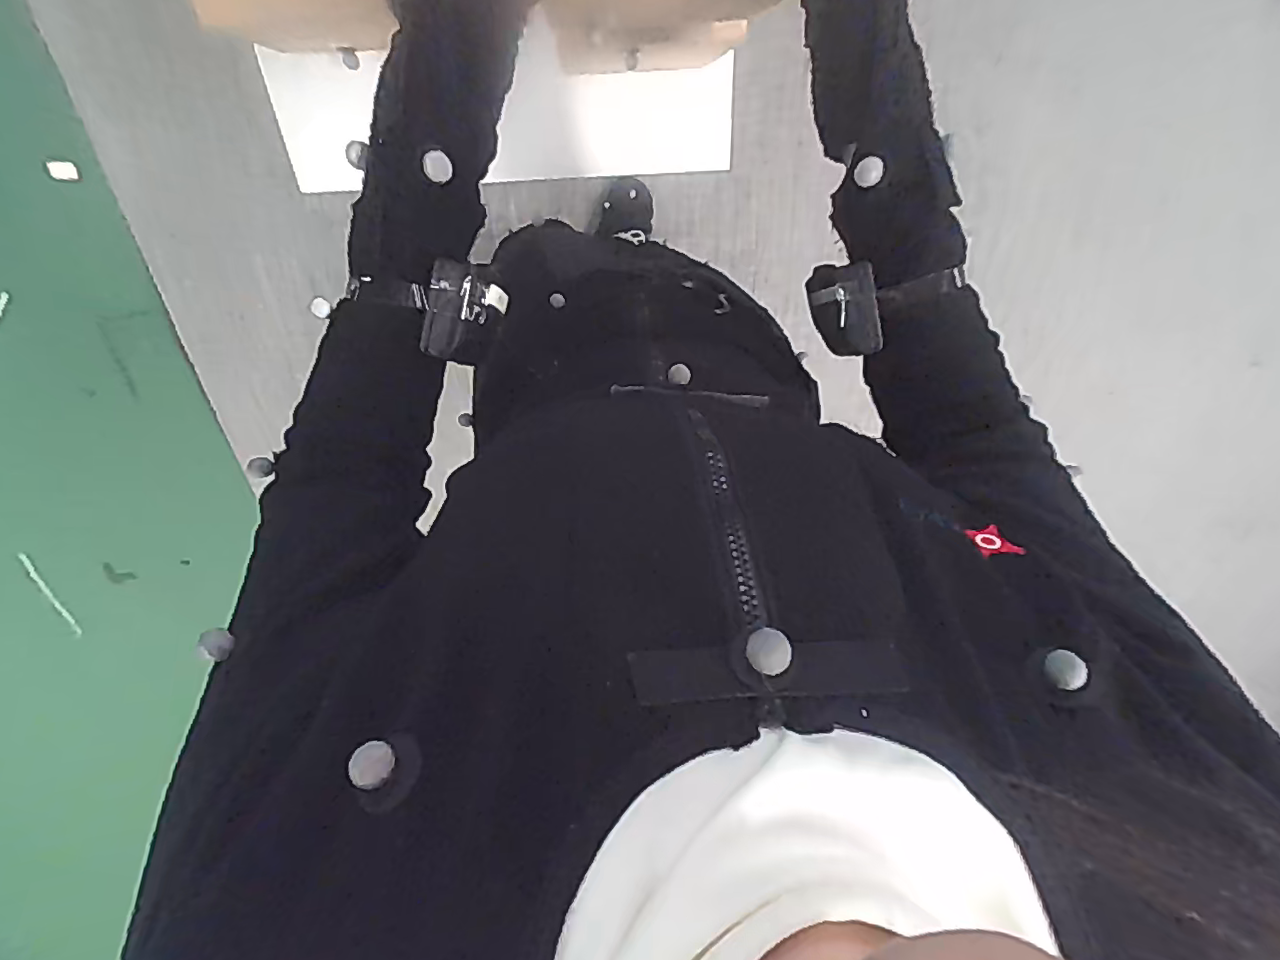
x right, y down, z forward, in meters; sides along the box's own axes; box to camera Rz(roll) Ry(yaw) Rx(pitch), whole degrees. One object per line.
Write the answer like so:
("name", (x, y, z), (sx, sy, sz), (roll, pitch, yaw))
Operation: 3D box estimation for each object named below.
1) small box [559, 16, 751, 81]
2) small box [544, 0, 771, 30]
("small box", (0.003, -0.487, 0.492), (0.168, 0.176, 0.179), (-5, 121, -2))
("small box", (0.014, -0.386, 0.313), (0.168, 0.176, 0.179), (-6, 121, 0))
